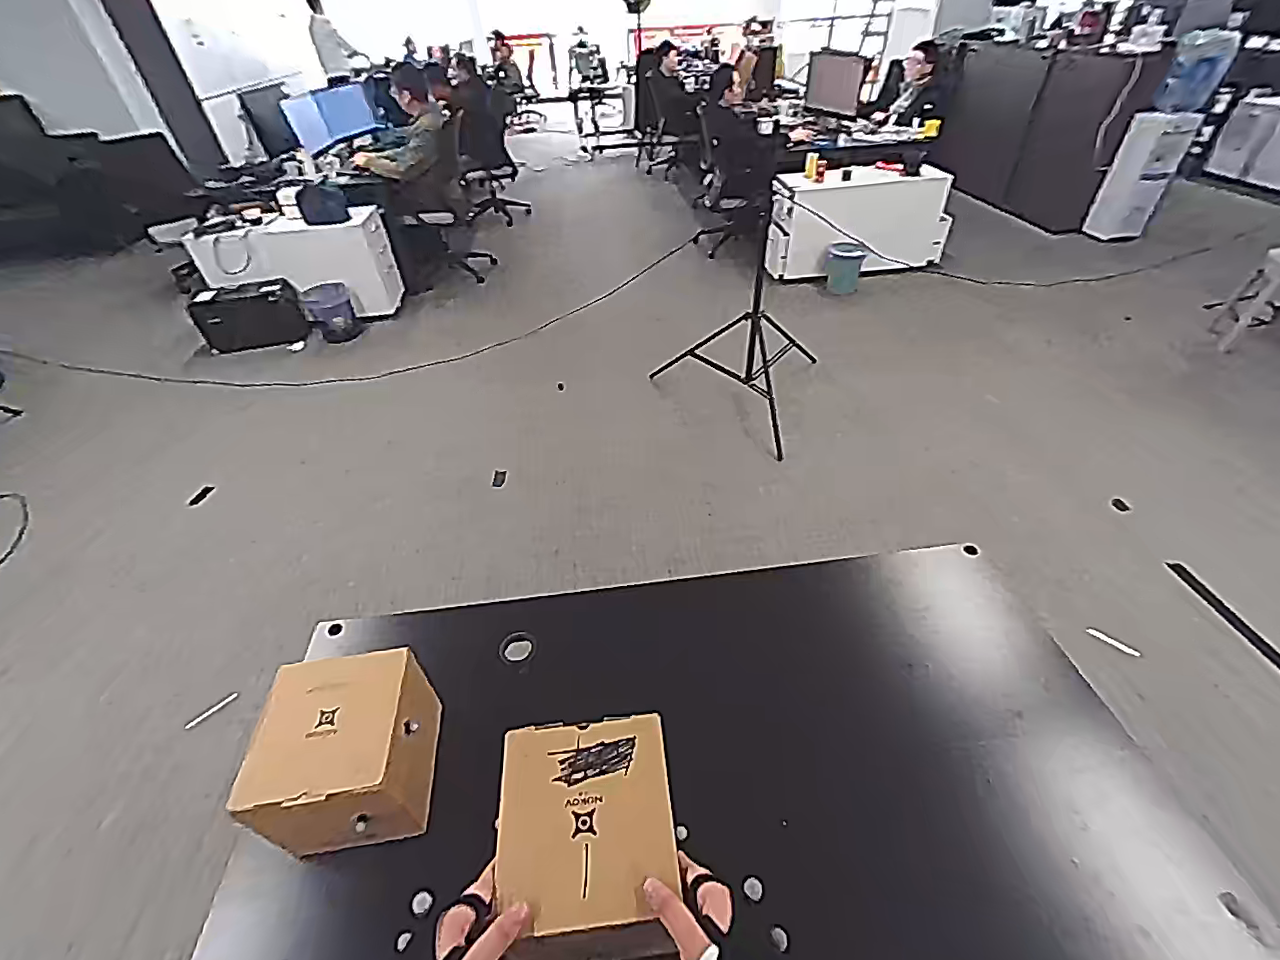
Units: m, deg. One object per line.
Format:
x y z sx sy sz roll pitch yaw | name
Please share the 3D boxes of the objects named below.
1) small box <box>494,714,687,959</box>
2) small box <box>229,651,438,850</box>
-0.046 0.375 0.568 0.168 0.176 0.179 -5 42 -3 | small box
-0.375 0.354 0.704 0.168 0.176 0.179 -7 41 -6 | small box
